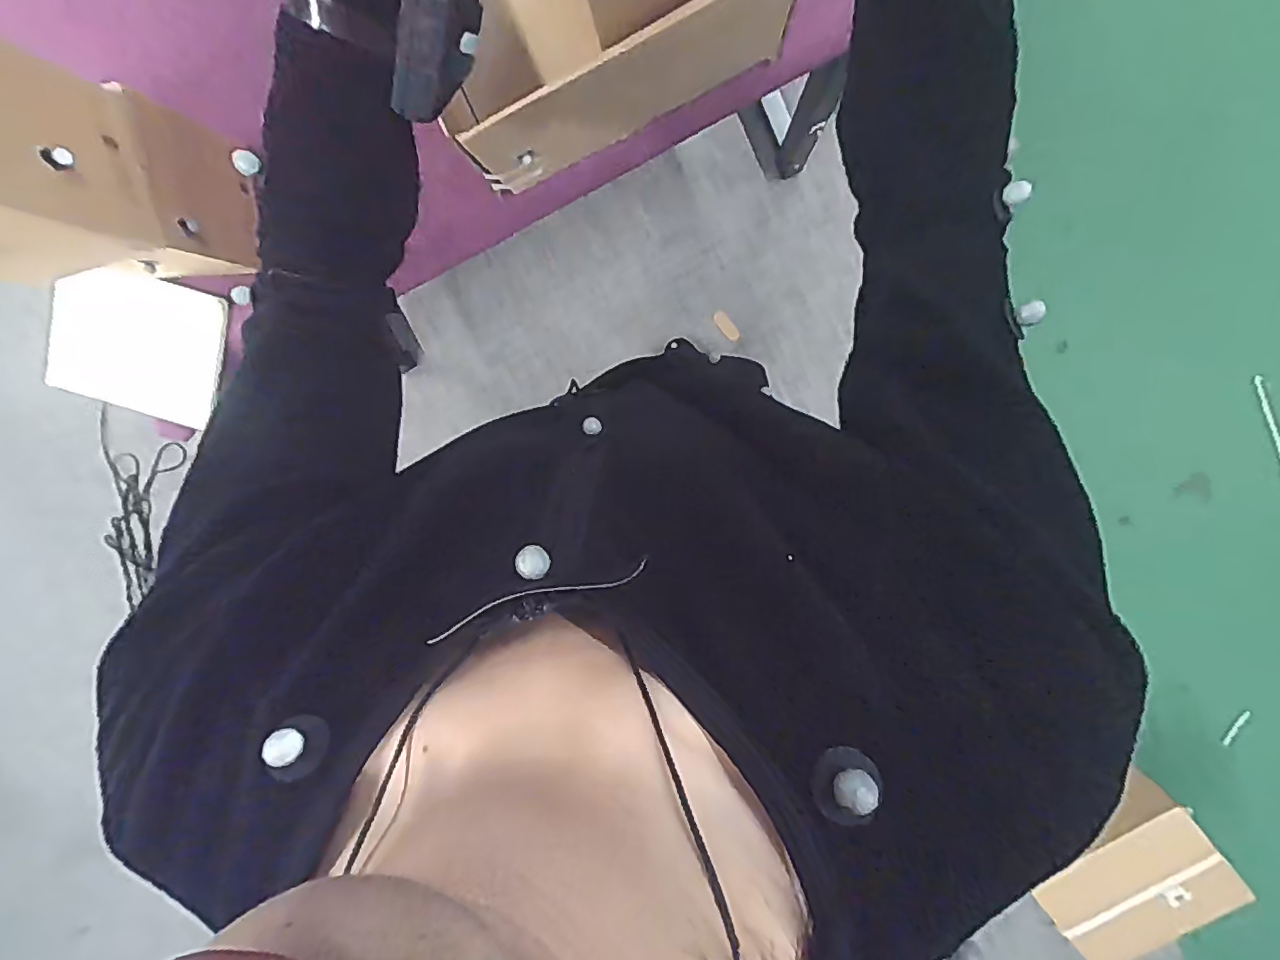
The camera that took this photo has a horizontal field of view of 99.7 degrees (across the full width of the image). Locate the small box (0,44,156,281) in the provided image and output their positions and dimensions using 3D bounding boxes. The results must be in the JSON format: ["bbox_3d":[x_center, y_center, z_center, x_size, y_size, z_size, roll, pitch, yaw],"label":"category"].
[{"bbox_3d":[-0.629,-0.305,0.524,0.179,0.176,0.168,-11,99,8],"label":"small box"}]

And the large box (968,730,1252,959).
[{"bbox_3d":[1.191,0.962,1.424,0.408,0.320,0.320,-40,95,9],"label":"large box"}]
